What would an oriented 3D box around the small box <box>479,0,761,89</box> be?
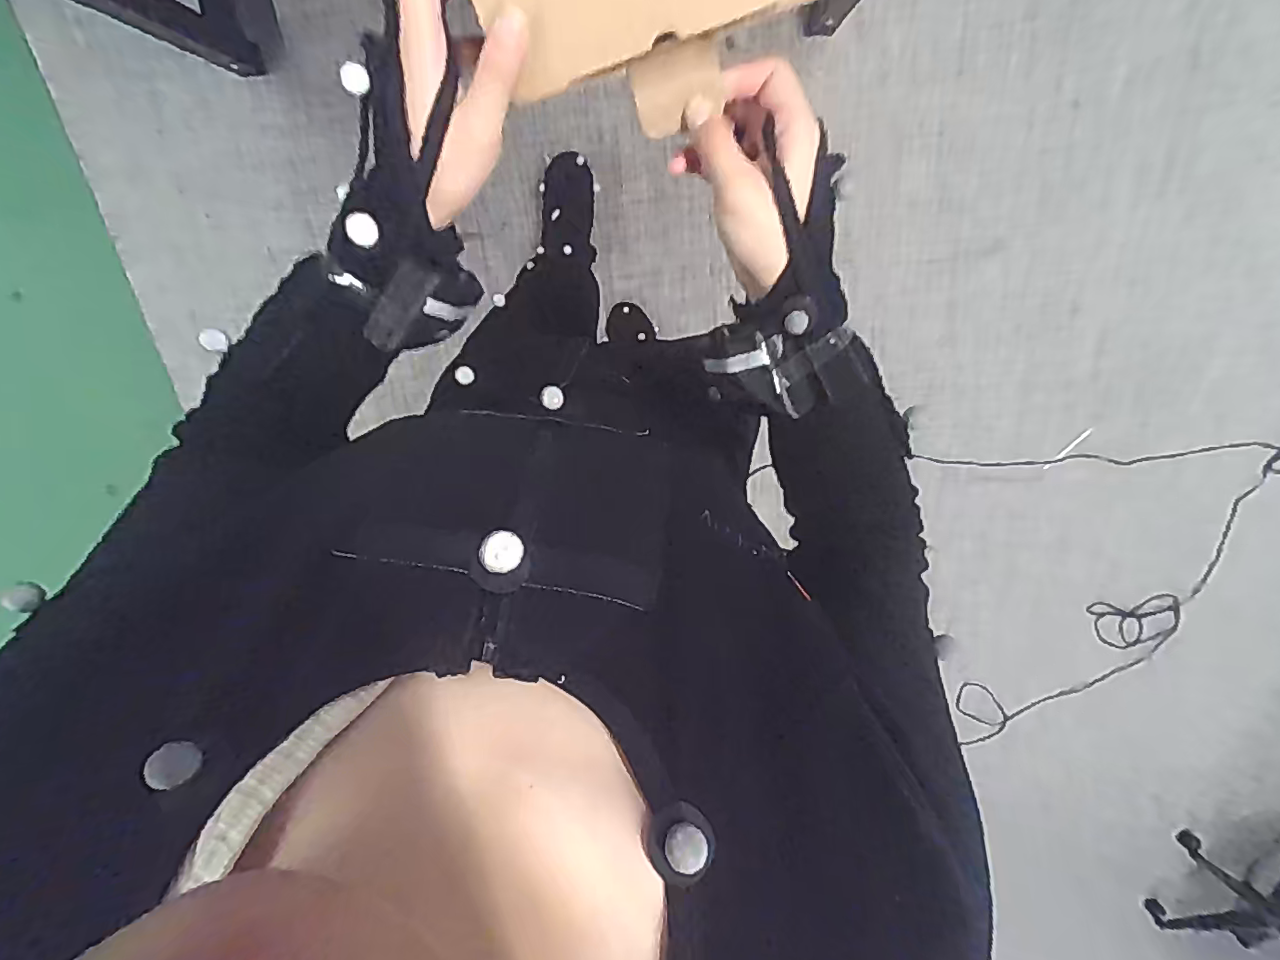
[{"bbox_3d":[-0.006,-0.329,0.262,0.168,0.176,0.179,-10,130,15],"label":"small box"}]
